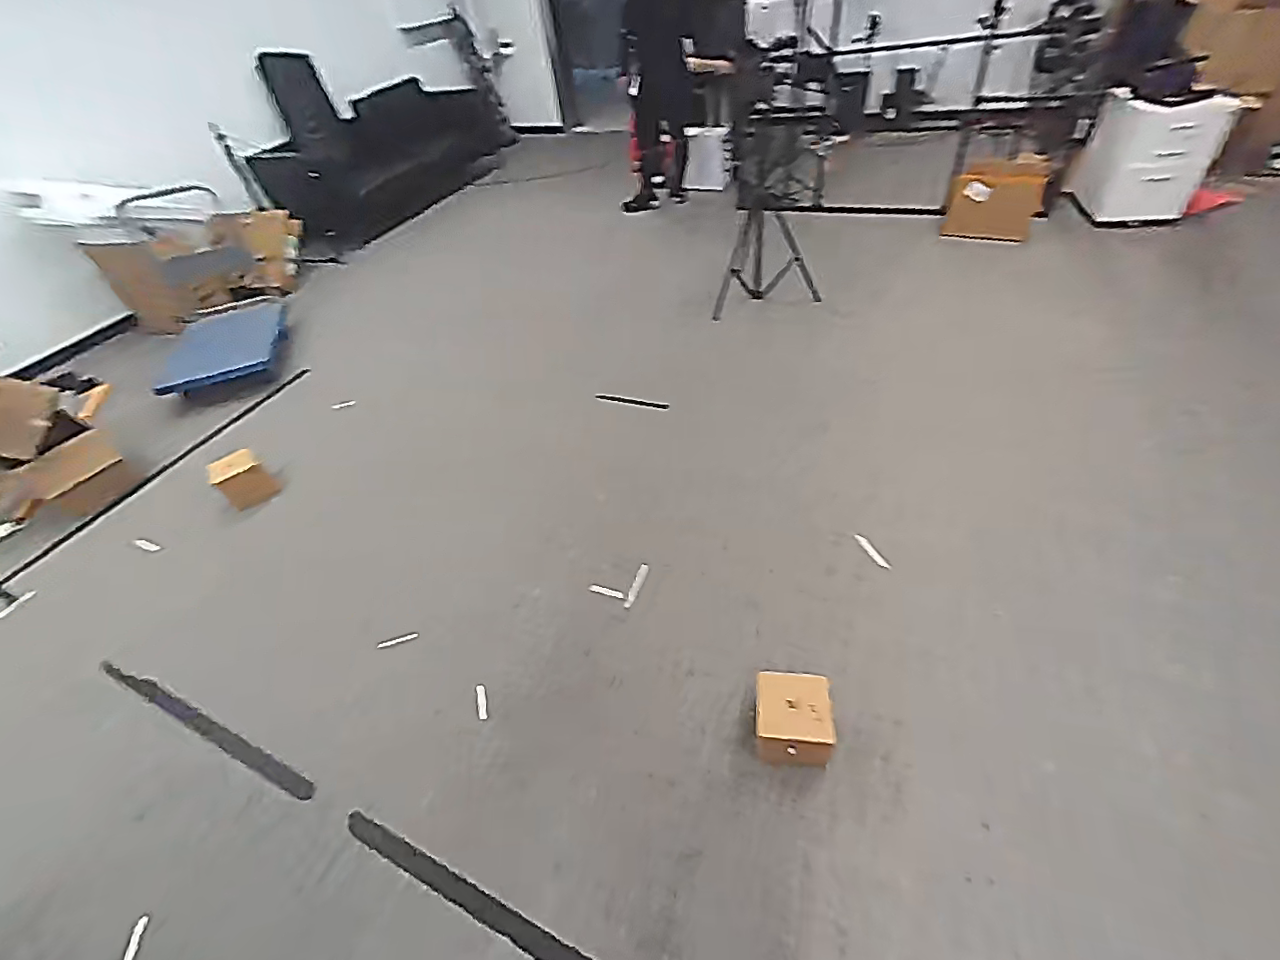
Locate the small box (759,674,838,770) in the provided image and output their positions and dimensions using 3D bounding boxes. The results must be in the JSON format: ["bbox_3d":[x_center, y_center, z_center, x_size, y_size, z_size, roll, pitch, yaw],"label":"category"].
[{"bbox_3d":[0.390,0.609,1.360,0.179,0.176,0.168,1,44,10],"label":"small box"}]

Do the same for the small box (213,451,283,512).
[{"bbox_3d":[-1.699,0.009,2.347,0.179,0.176,0.168,-35,49,-24],"label":"small box"}]
